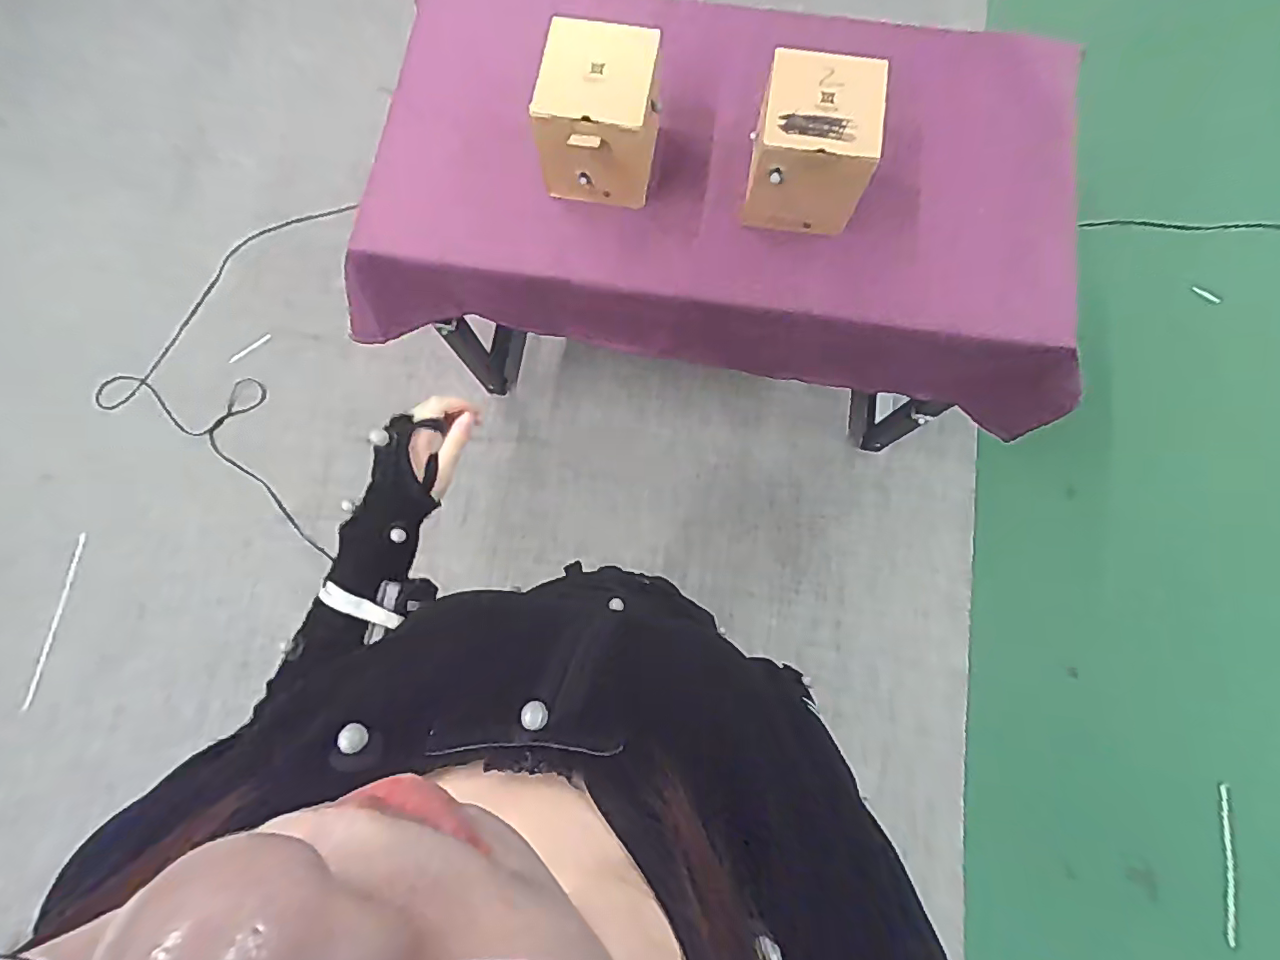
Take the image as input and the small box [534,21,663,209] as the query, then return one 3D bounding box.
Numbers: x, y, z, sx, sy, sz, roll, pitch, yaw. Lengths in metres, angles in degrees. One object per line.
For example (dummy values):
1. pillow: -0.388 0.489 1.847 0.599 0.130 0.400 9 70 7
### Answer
1. small box: -0.060 -0.582 0.878 0.168 0.176 0.179 10 80 3
